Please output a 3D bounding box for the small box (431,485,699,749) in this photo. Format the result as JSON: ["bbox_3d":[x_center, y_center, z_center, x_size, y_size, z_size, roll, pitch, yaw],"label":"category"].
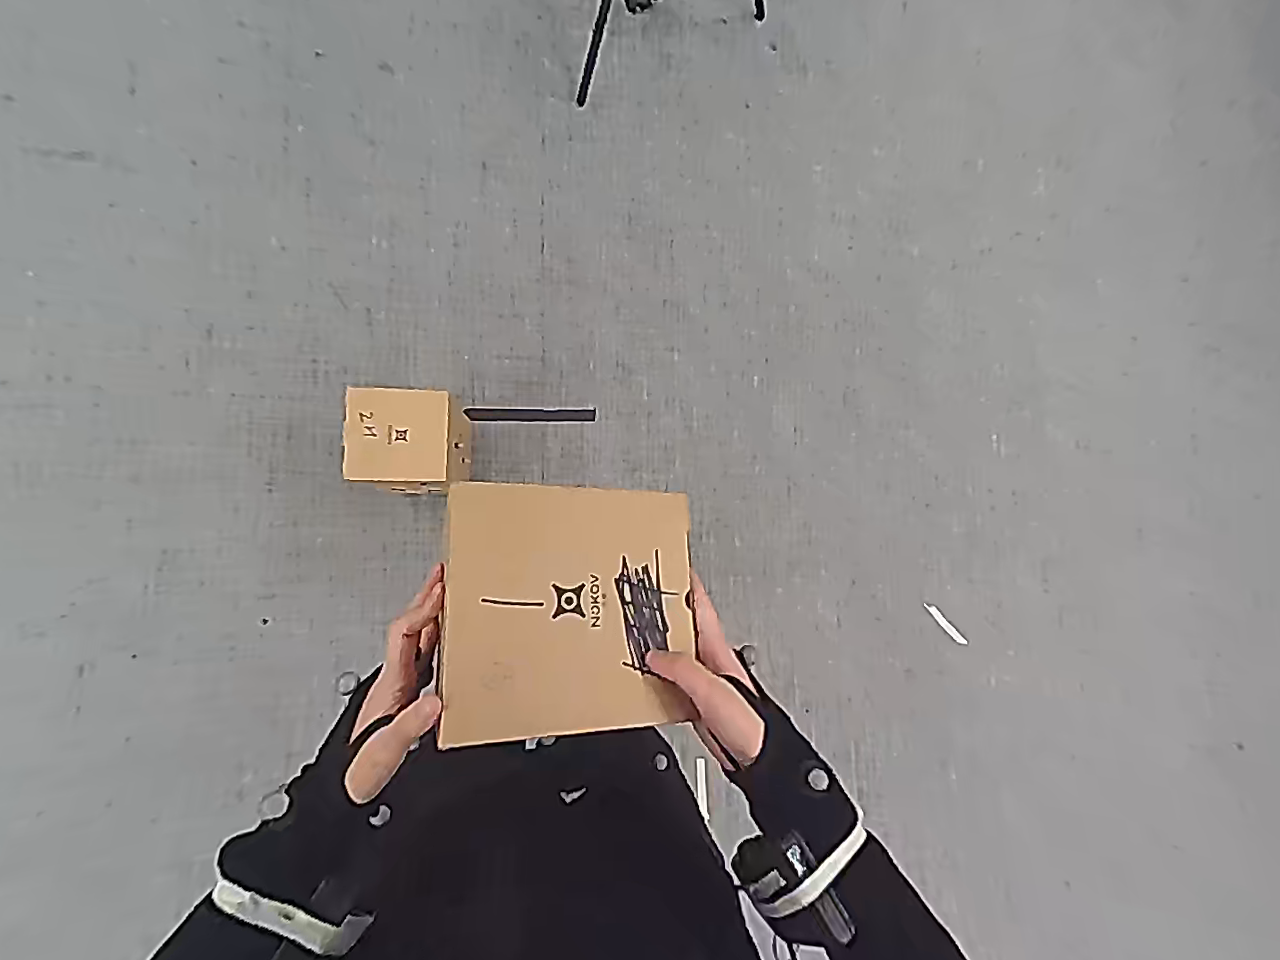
[{"bbox_3d":[-0.071,0.109,0.441,0.179,0.176,0.168,4,72,-21],"label":"small box"}]

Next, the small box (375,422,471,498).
[{"bbox_3d":[-0.469,-0.050,1.193,0.168,0.176,0.179,1,87,-10],"label":"small box"}]

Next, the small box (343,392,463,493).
[{"bbox_3d":[-0.439,-0.064,1.030,0.179,0.176,0.168,1,85,-9],"label":"small box"}]
